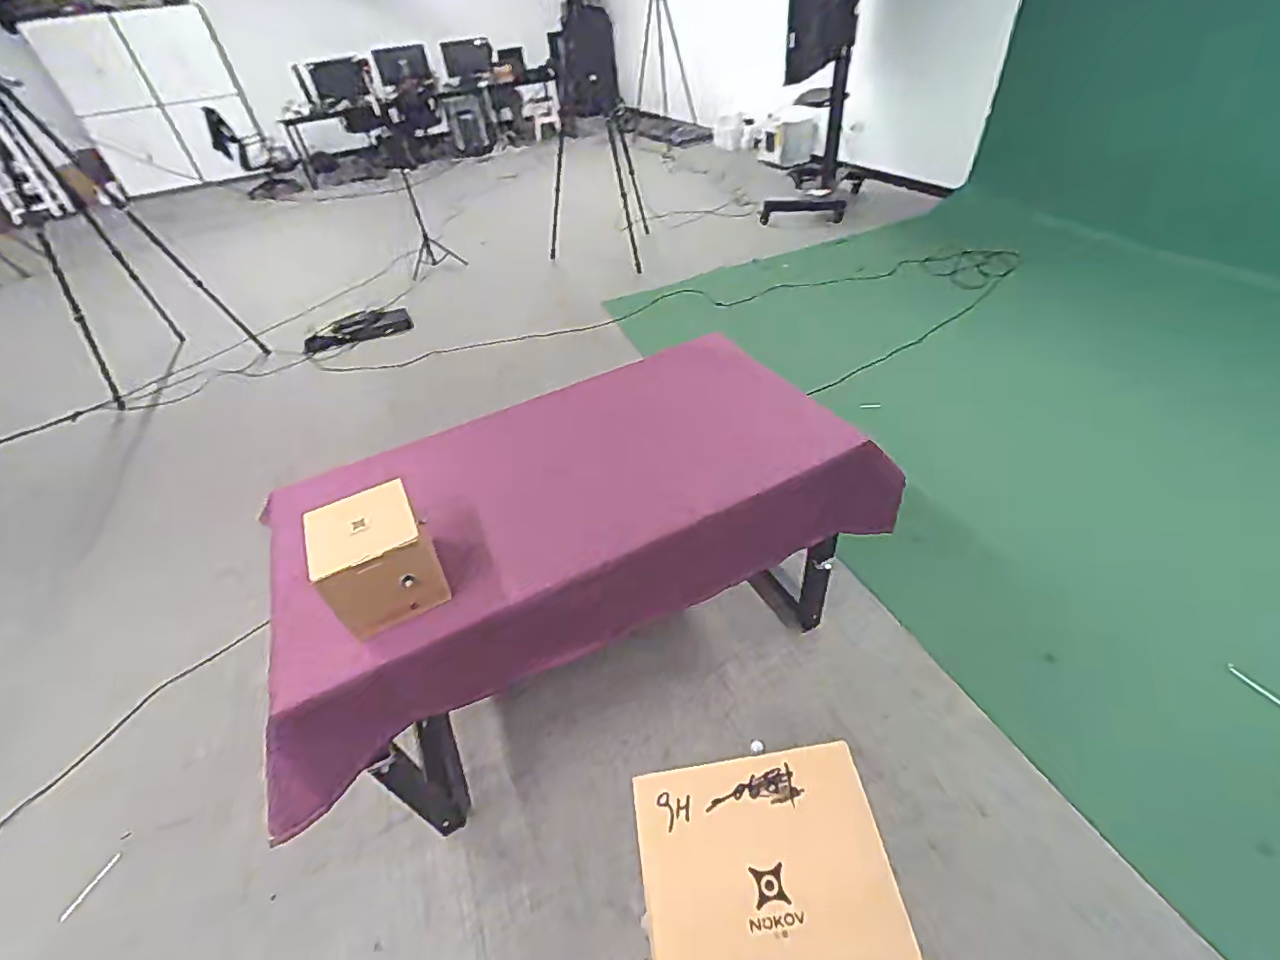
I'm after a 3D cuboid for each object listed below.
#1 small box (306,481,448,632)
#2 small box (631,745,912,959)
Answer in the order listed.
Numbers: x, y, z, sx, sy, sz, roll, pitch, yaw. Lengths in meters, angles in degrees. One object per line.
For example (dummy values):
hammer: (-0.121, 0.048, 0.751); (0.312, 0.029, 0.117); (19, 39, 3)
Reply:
small box: (-0.452, 0.139, 0.941); (0.168, 0.176, 0.179); (-23, 43, -18)
small box: (0.091, 0.328, 0.420); (0.168, 0.176, 0.179); (-9, 52, -1)
